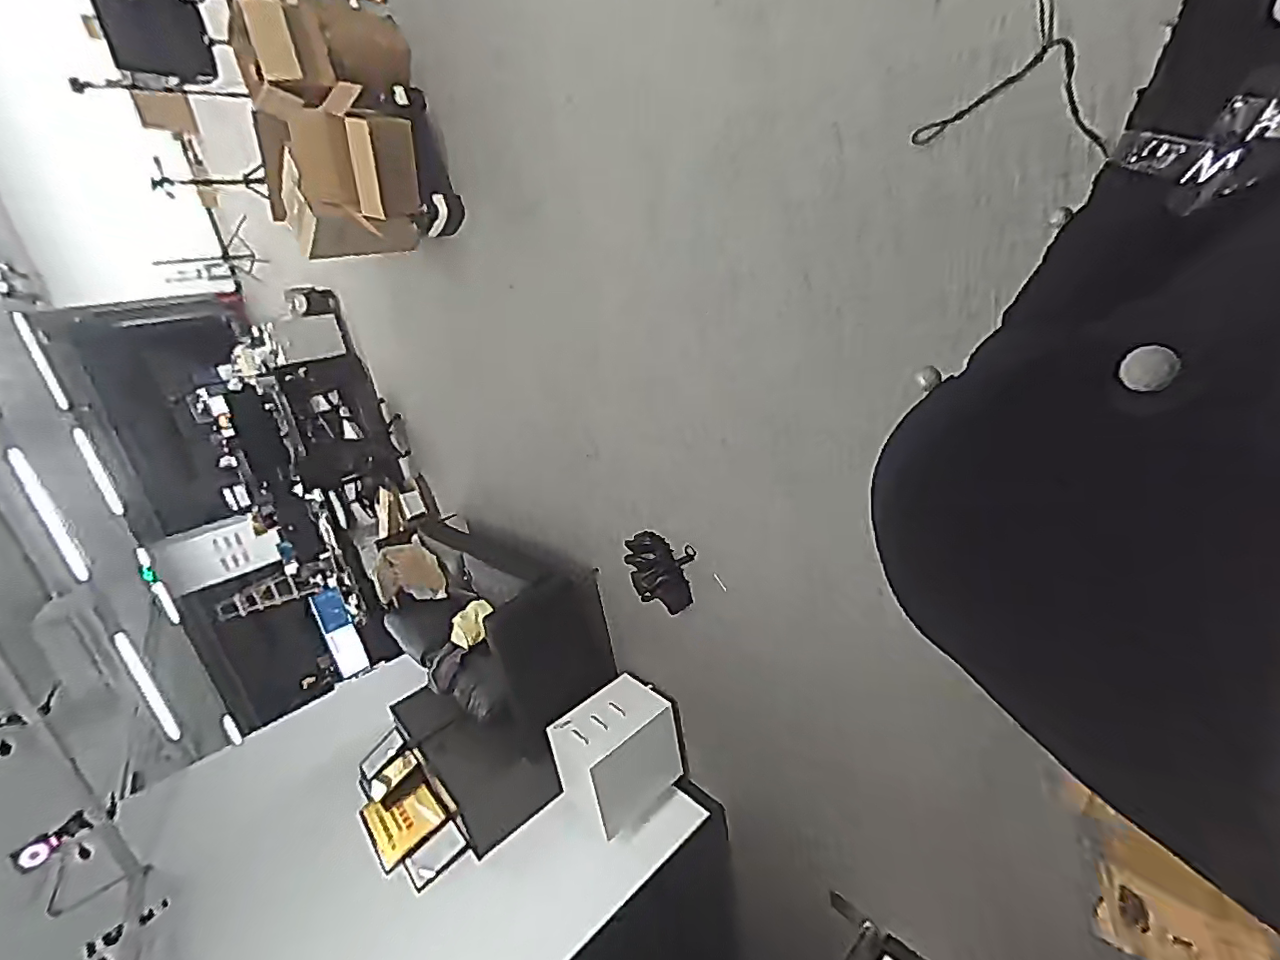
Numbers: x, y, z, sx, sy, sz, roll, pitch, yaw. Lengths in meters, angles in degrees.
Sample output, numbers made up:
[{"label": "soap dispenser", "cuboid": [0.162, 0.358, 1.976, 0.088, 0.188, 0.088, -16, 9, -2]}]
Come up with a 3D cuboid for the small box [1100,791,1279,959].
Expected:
[{"label": "small box", "cuboid": [0.858, 0.632, 0.847, 0.179, 0.176, 0.168, 10, 118, 48]}]
